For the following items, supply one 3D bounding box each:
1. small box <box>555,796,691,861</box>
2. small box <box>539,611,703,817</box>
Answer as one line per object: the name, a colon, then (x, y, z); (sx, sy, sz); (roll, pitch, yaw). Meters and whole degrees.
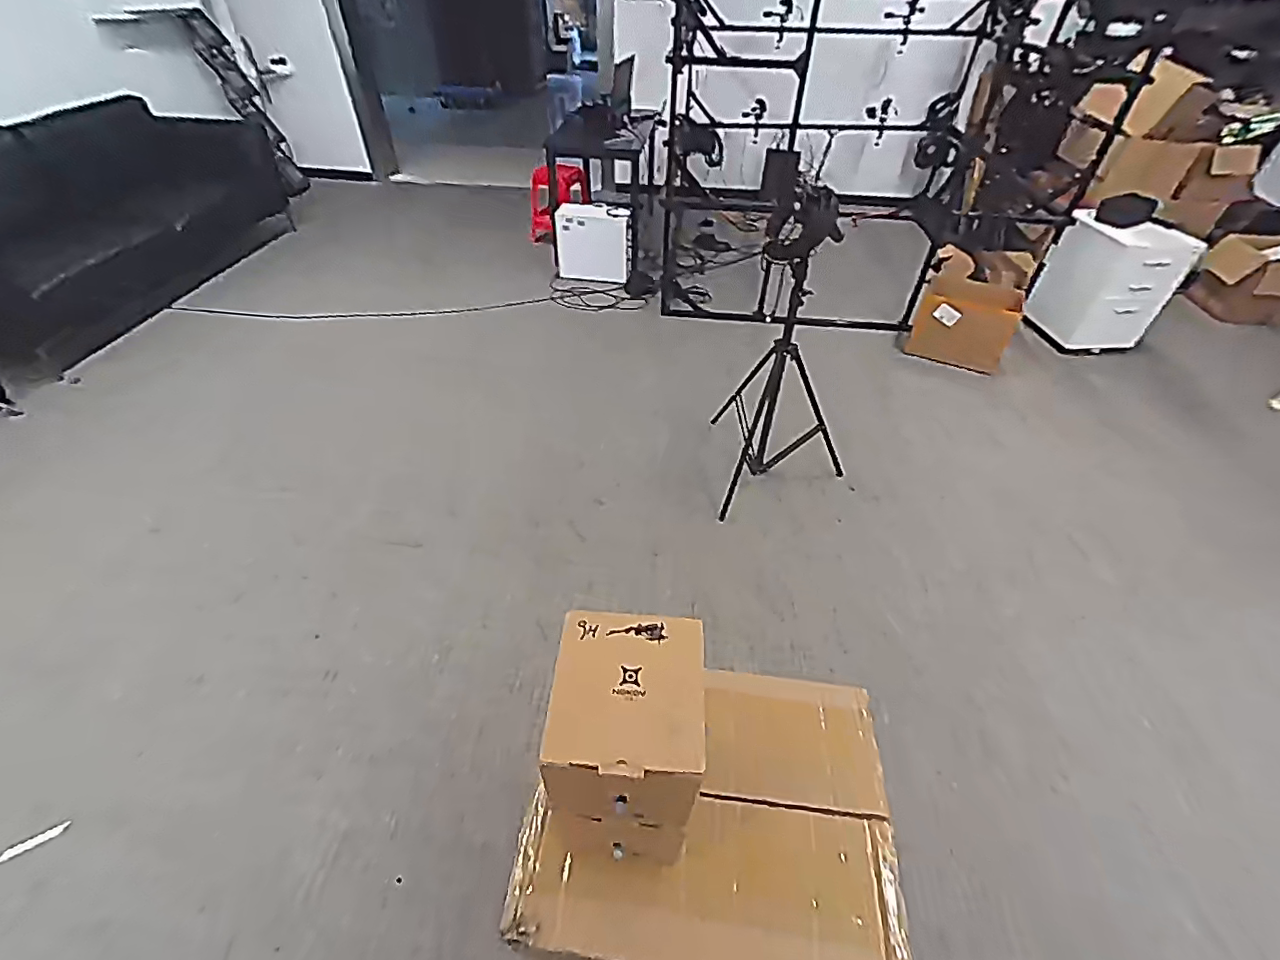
small box: (-0.016, 0.401, 0.756); (0.168, 0.176, 0.179); (5, 44, 3)
small box: (-0.014, 0.280, 0.644); (0.168, 0.176, 0.179); (4, 44, 2)
